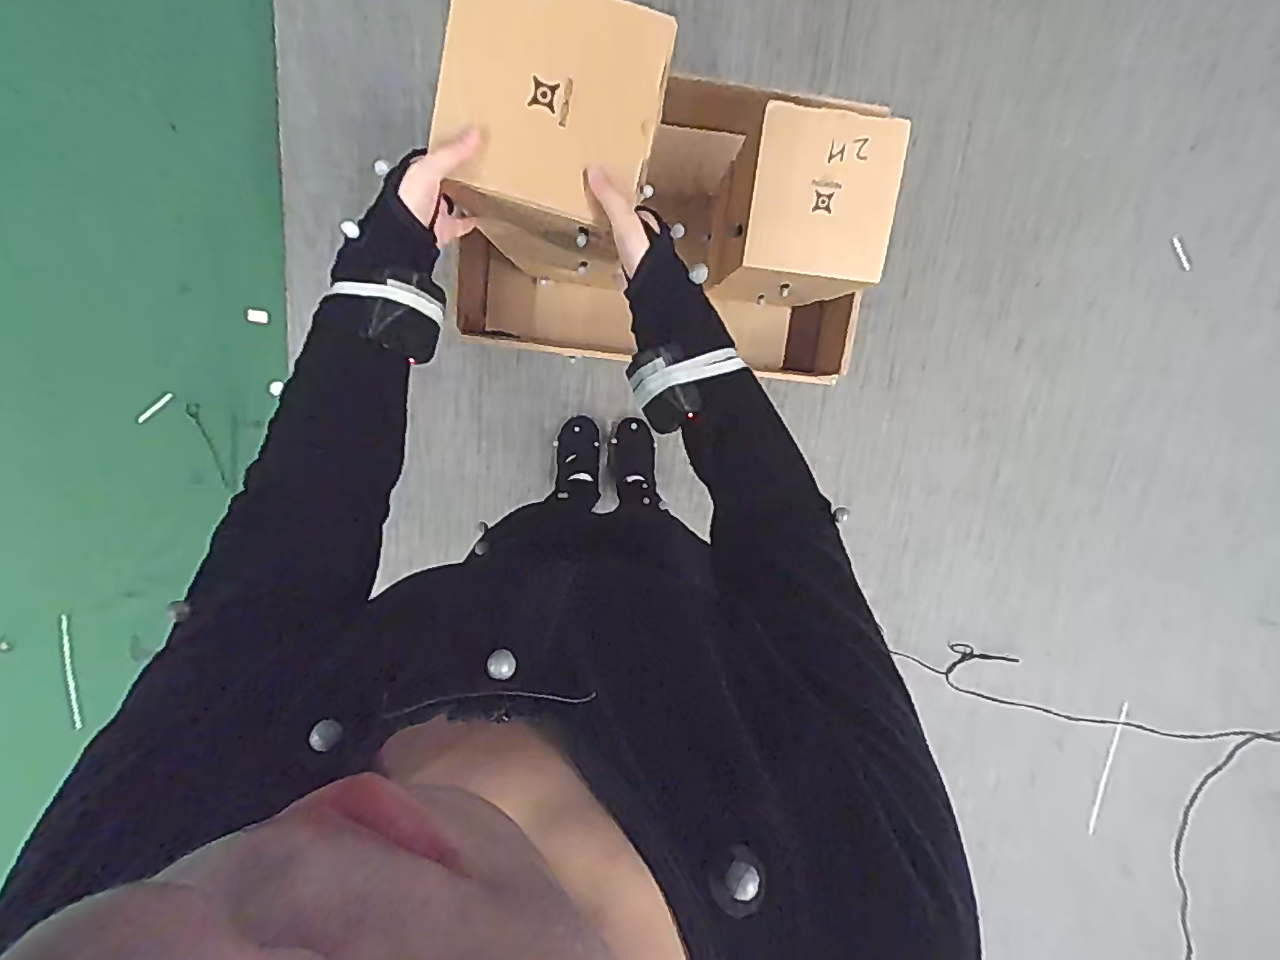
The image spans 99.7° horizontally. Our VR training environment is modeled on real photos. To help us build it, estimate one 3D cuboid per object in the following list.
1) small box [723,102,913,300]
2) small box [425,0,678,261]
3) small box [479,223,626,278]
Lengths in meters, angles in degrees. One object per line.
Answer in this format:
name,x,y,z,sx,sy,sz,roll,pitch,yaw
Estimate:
small box,0.207,-0.334,0.686,0.168,0.176,0.179,7,102,-3
small box,-0.078,-0.324,0.515,0.179,0.176,0.168,14,101,-7
small box,-0.087,-0.366,0.675,0.168,0.176,0.179,12,101,-5
